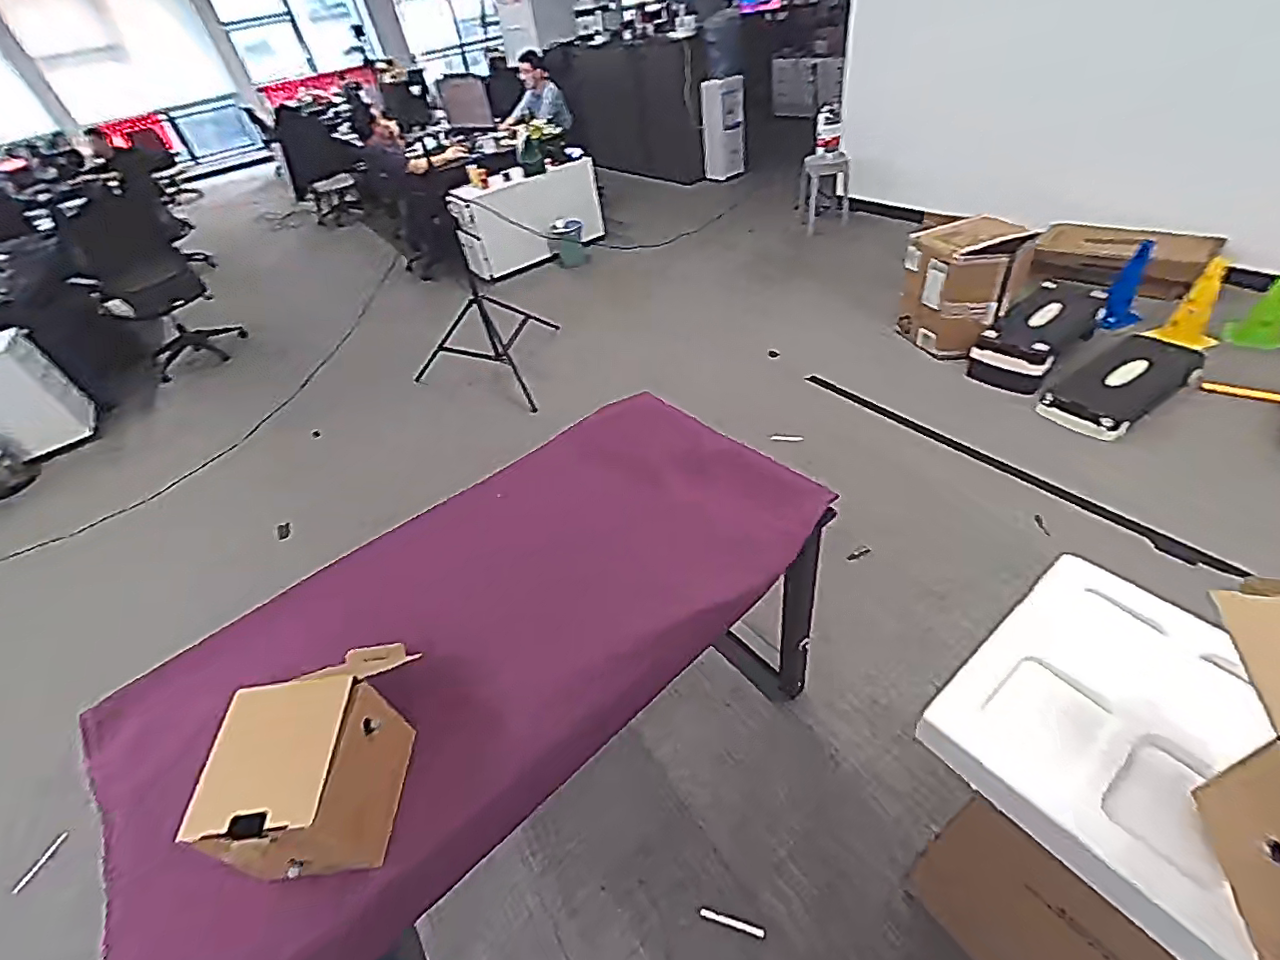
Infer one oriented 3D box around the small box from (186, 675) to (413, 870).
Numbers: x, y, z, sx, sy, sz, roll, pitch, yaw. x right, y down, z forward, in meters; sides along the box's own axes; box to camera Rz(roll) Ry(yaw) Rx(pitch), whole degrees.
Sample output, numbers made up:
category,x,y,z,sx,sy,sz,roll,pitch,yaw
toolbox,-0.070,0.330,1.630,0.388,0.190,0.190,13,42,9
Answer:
category,x,y,z,sx,sy,sz,roll,pitch,yaw
small box,-0.429,0.390,0.723,0.168,0.176,0.179,-9,41,4
